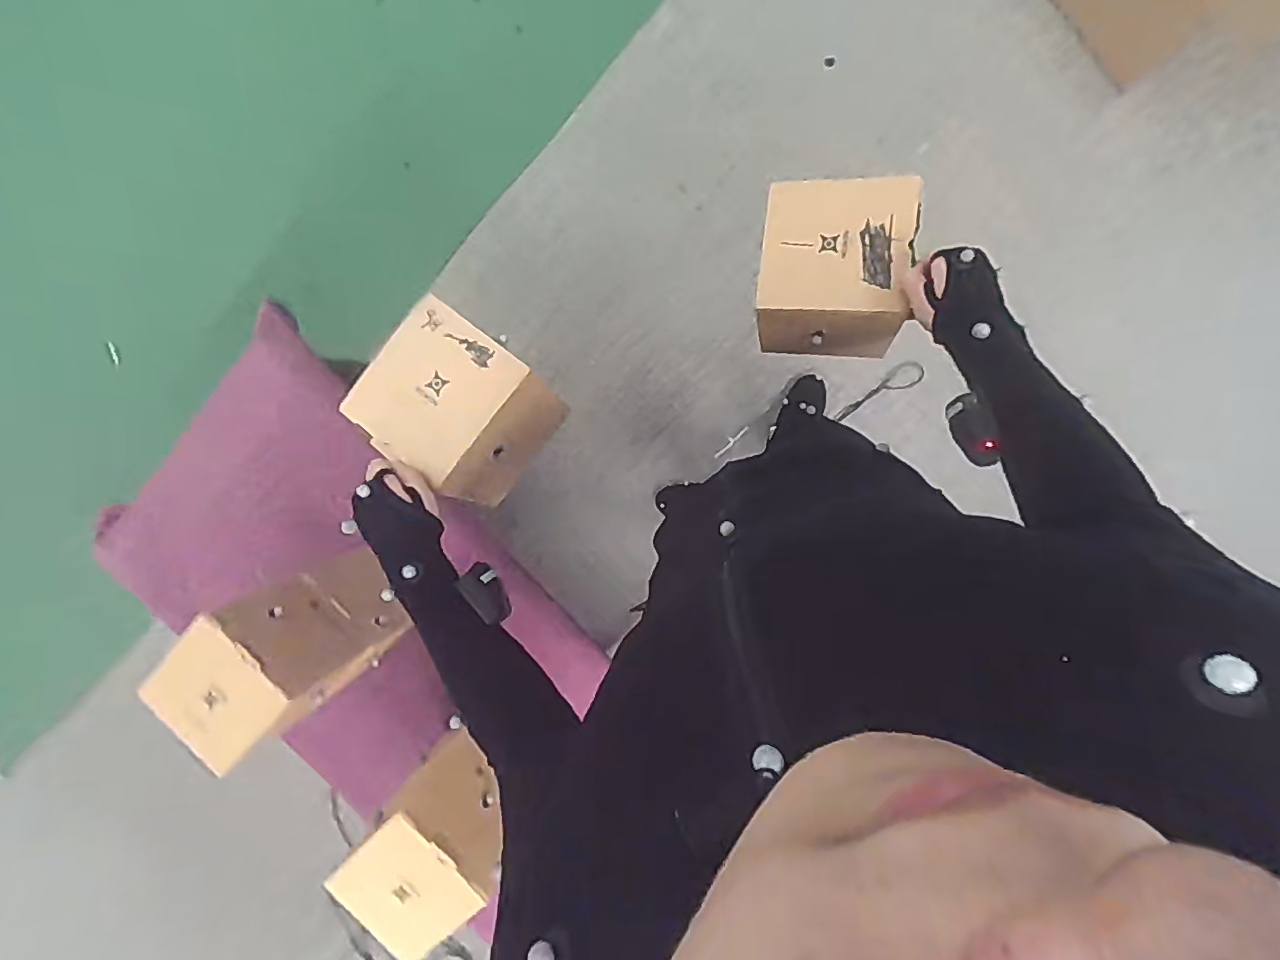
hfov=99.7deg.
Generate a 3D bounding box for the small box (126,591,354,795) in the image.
[{"bbox_3d":[-0.552,0.290,0.775,0.168,0.176,0.179,45,102,1],"label":"small box"}]

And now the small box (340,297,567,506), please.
[{"bbox_3d":[-0.218,-0.084,0.681,0.168,0.176,0.179,39,89,13],"label":"small box"}]

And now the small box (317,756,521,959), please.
[{"bbox_3d":[-0.301,0.547,0.774,0.168,0.176,0.179,44,100,1],"label":"small box"}]

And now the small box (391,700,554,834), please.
[{"bbox_3d":[-0.276,0.524,0.933,0.179,0.176,0.168,-44,90,11],"label":"small box"}]

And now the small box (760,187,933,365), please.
[{"bbox_3d":[0.260,-0.257,0.711,0.179,0.176,0.168,8,86,16],"label":"small box"}]
